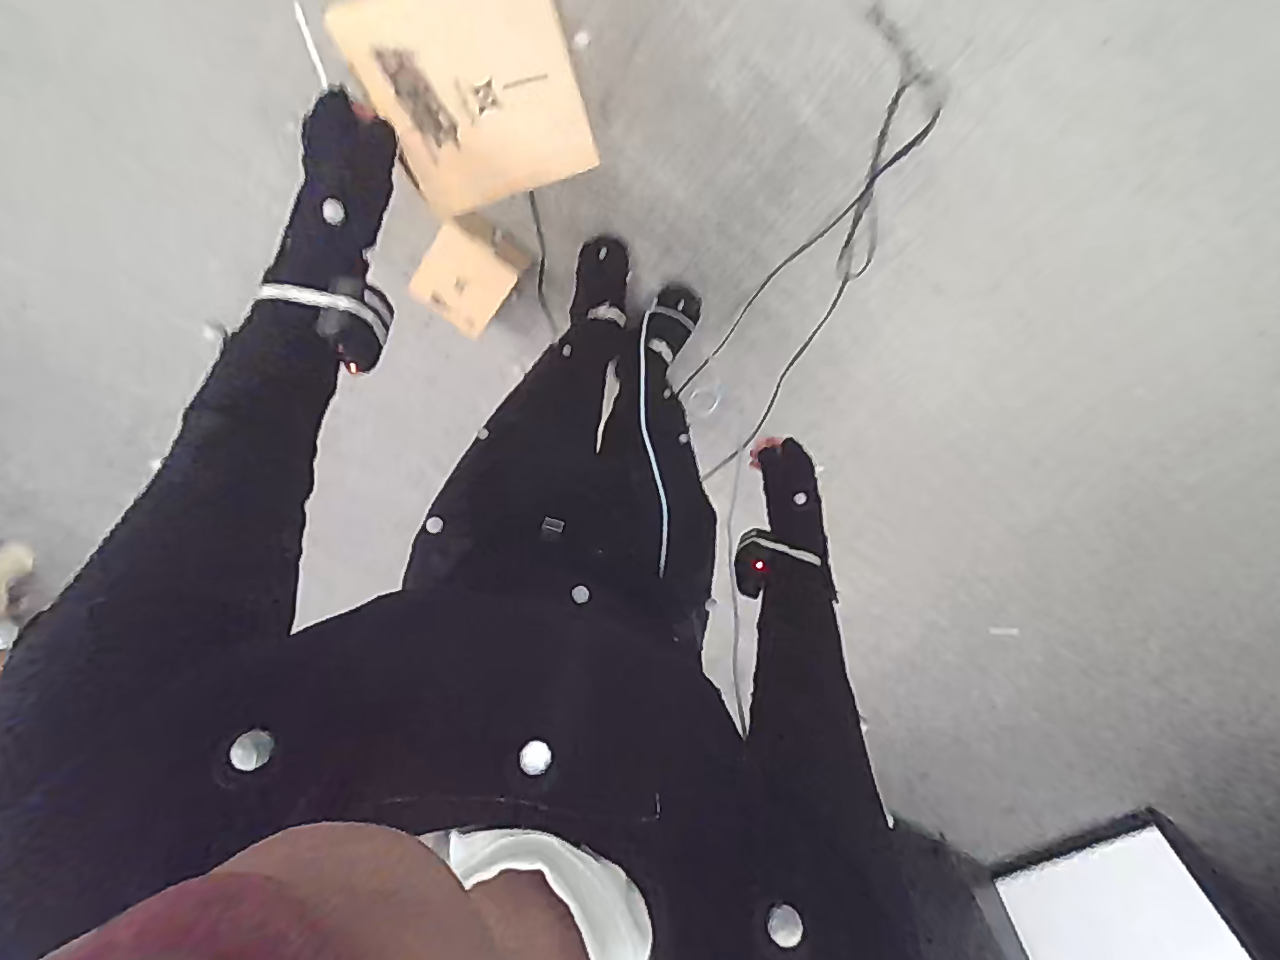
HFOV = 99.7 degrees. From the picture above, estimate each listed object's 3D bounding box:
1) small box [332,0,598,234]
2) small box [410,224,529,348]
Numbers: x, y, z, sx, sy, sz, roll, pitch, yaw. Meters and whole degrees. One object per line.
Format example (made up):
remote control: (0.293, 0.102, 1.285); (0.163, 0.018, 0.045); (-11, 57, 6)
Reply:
small box: (-0.149, -0.377, 0.525); (0.179, 0.176, 0.168); (-15, 139, 9)
small box: (-0.356, -0.424, 1.165); (0.168, 0.176, 0.179); (36, 116, -20)
